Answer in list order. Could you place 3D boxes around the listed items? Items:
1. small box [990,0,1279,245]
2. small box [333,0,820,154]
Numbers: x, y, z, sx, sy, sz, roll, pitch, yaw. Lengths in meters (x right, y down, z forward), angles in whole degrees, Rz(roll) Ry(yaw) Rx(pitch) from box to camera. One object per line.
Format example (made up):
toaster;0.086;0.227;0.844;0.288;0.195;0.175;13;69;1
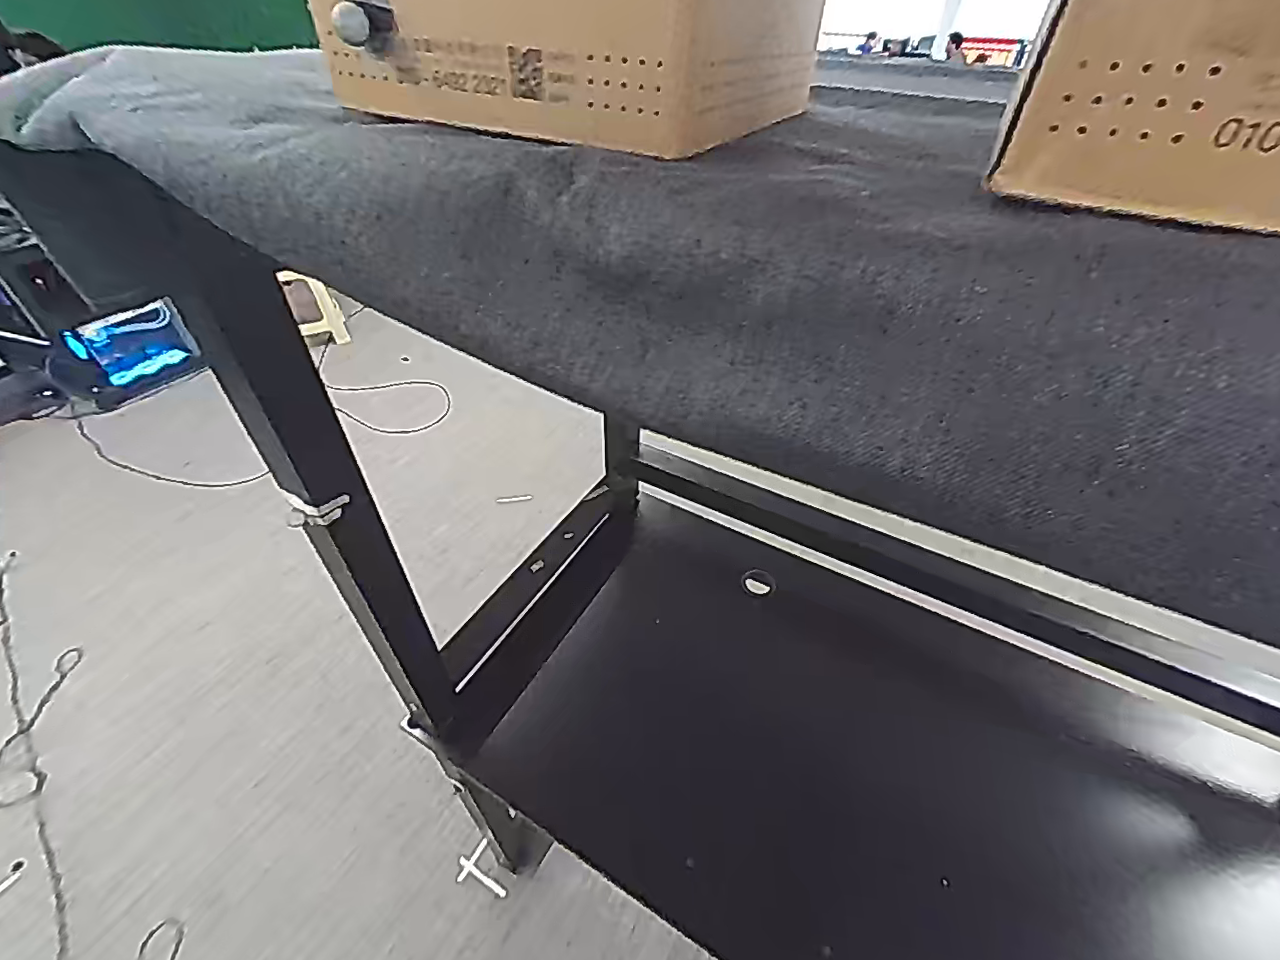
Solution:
small box;0.210;-0.158;0.129;0.168;0.176;0.179;21;43;21
small box;-0.016;-0.242;0.216;0.168;0.176;0.179;20;42;18
